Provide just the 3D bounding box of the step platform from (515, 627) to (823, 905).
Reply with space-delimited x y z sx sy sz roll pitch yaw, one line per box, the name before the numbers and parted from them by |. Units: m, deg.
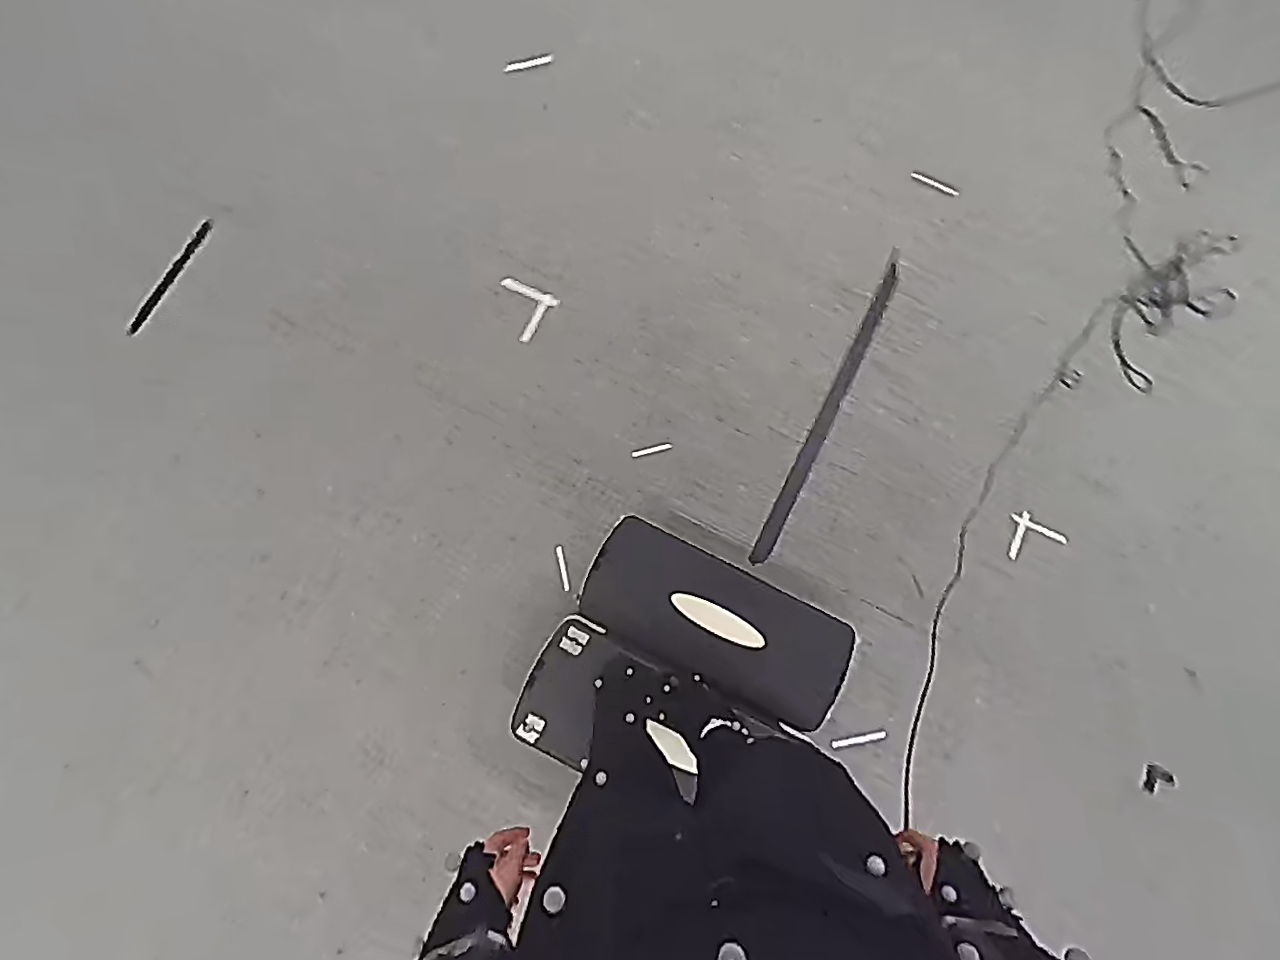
step platform | 0.058 0.624 1.237 0.684 0.204 0.286 30 78 7
